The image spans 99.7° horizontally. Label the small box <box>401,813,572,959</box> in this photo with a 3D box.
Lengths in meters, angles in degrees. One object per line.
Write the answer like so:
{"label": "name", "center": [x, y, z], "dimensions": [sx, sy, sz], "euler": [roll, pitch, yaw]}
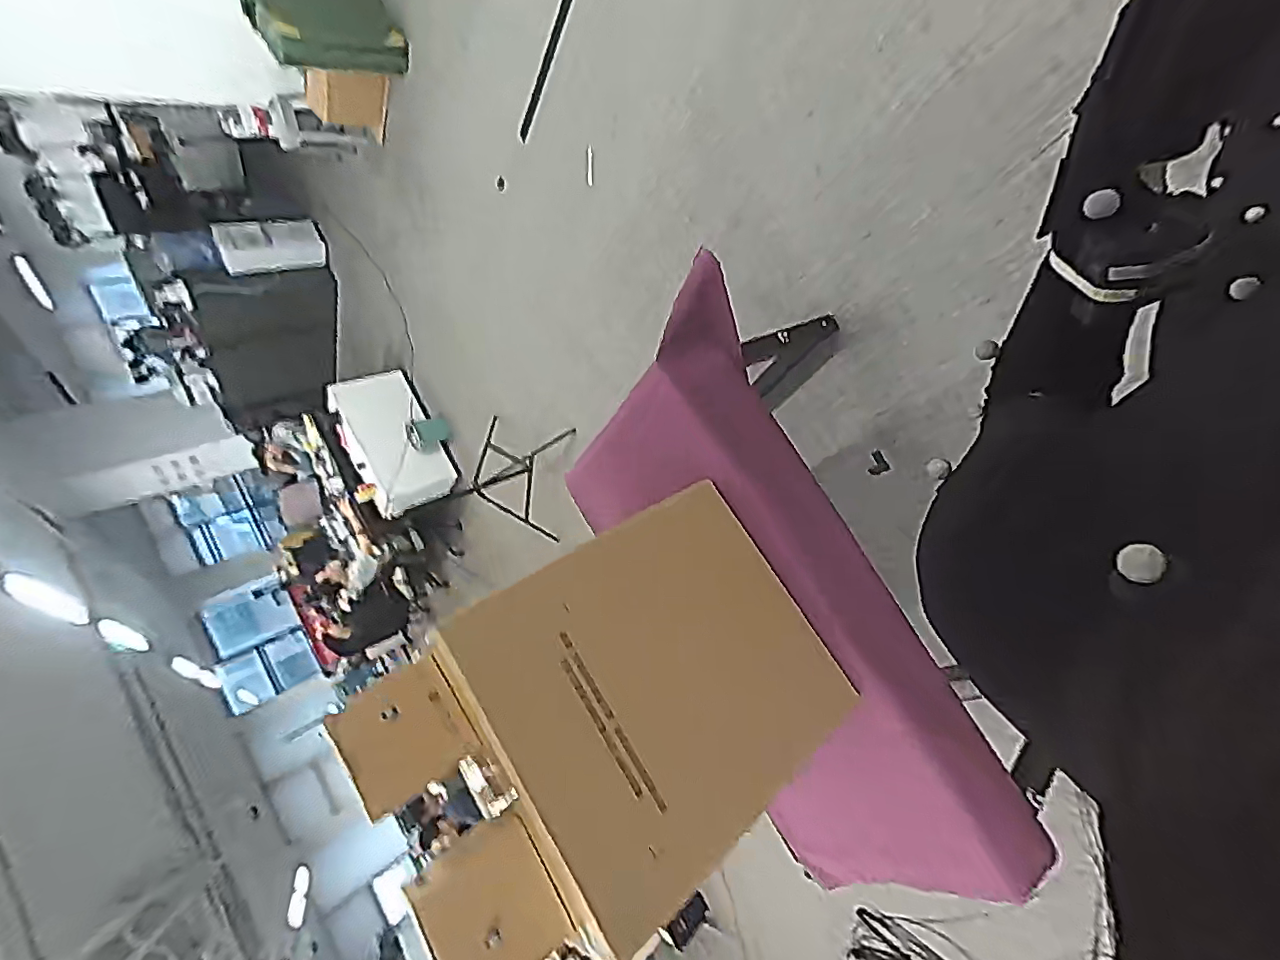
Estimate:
{"label": "small box", "center": [-0.226, 0.634, 0.797], "dimensions": [0.179, 0.176, 0.168], "euler": [58, 143, 10]}

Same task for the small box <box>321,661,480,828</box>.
{"label": "small box", "center": [-0.372, 0.409, 0.849], "dimensions": [0.168, 0.176, 0.179], "euler": [56, 144, 12]}
